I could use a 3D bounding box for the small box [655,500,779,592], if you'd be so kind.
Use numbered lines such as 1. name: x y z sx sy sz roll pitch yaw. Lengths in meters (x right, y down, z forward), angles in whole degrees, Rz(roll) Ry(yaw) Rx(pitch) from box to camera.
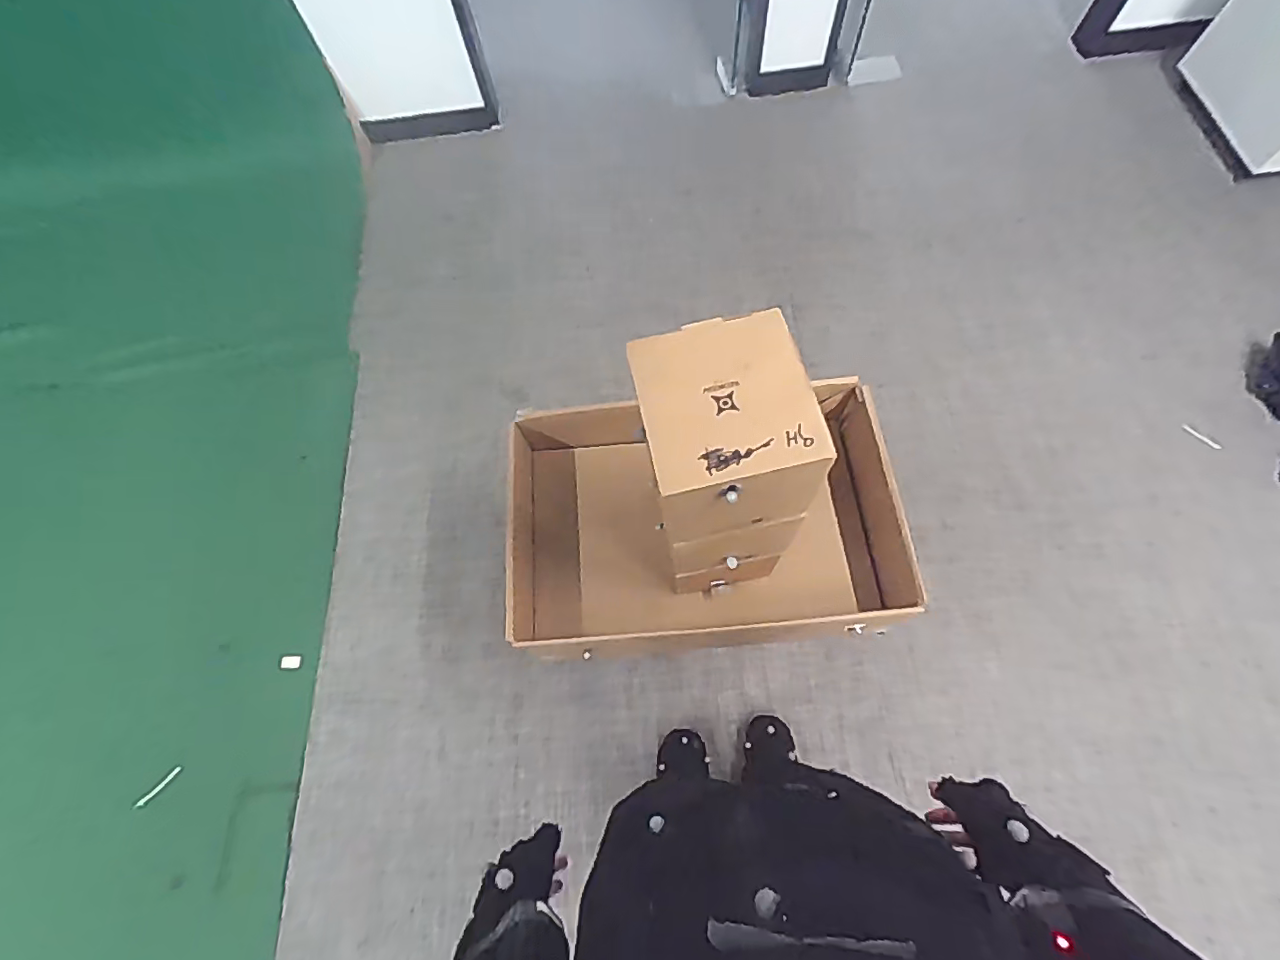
1. small box: 0.118 0.074 0.903 0.168 0.176 0.179 -12 68 1

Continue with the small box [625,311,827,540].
1. small box: 0.086 -0.051 0.603 0.168 0.176 0.179 -13 66 2

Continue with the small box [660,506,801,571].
1. small box: 0.105 0.011 0.752 0.168 0.176 0.179 -13 68 1
